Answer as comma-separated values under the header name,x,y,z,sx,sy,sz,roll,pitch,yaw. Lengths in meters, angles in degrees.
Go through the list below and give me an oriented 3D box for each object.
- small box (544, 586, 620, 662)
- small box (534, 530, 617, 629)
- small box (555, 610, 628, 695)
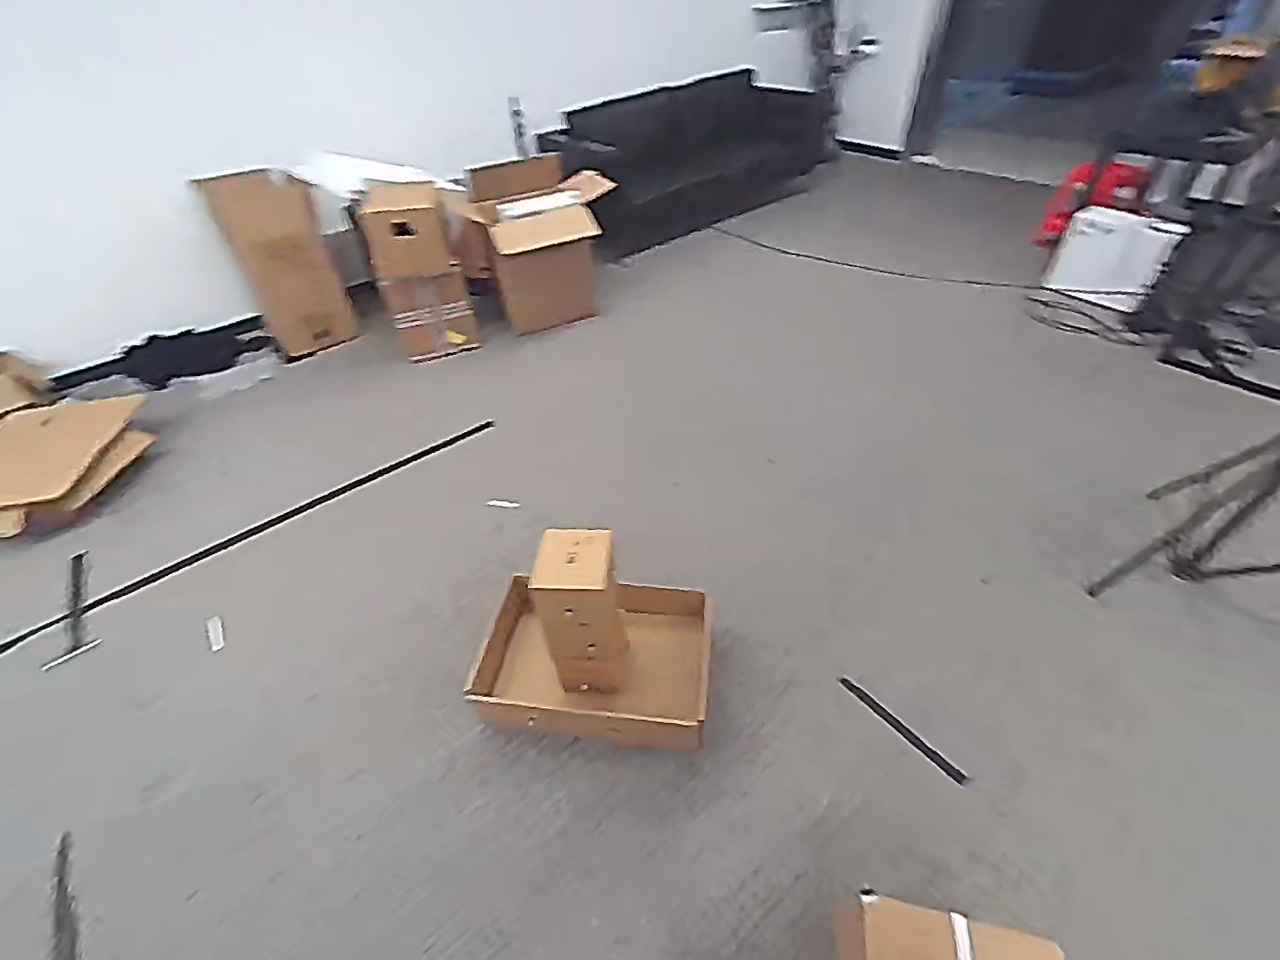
name,x,y,z,sx,sy,sz,roll,pitch,yaw
small box,-0.143,0.360,1.420,0.168,0.176,0.179,1,42,4
small box,-0.146,0.241,1.304,0.168,0.176,0.179,1,44,4
small box,-0.128,0.480,1.528,0.168,0.176,0.179,3,44,9
